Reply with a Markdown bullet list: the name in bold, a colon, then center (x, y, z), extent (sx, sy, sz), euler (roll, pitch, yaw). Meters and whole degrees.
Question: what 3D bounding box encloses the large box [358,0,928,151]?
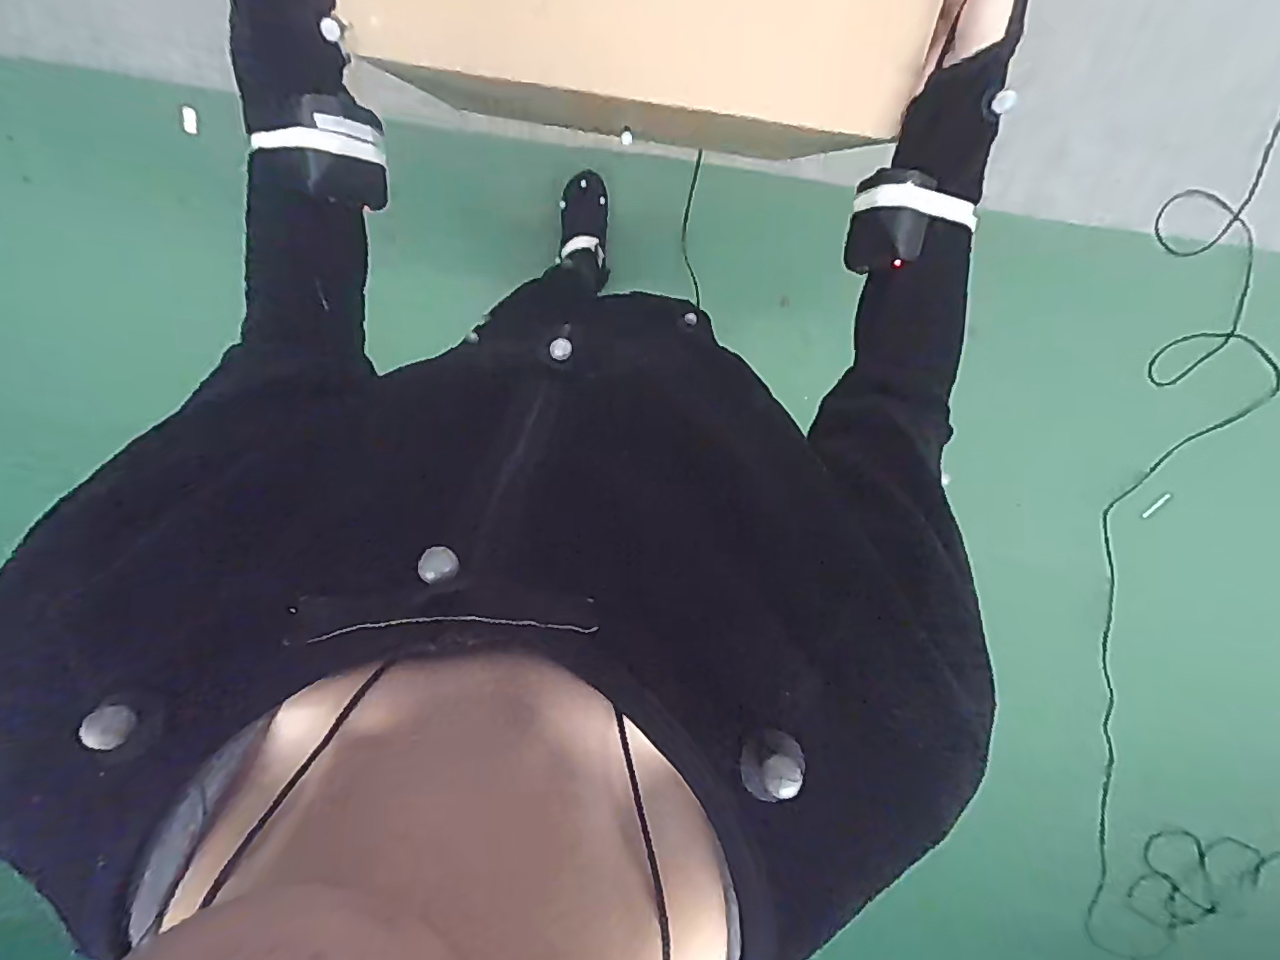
- **large box**: center (0.011, -0.488, 0.464), extent (0.408, 0.320, 0.320), euler (5, 117, -6)
